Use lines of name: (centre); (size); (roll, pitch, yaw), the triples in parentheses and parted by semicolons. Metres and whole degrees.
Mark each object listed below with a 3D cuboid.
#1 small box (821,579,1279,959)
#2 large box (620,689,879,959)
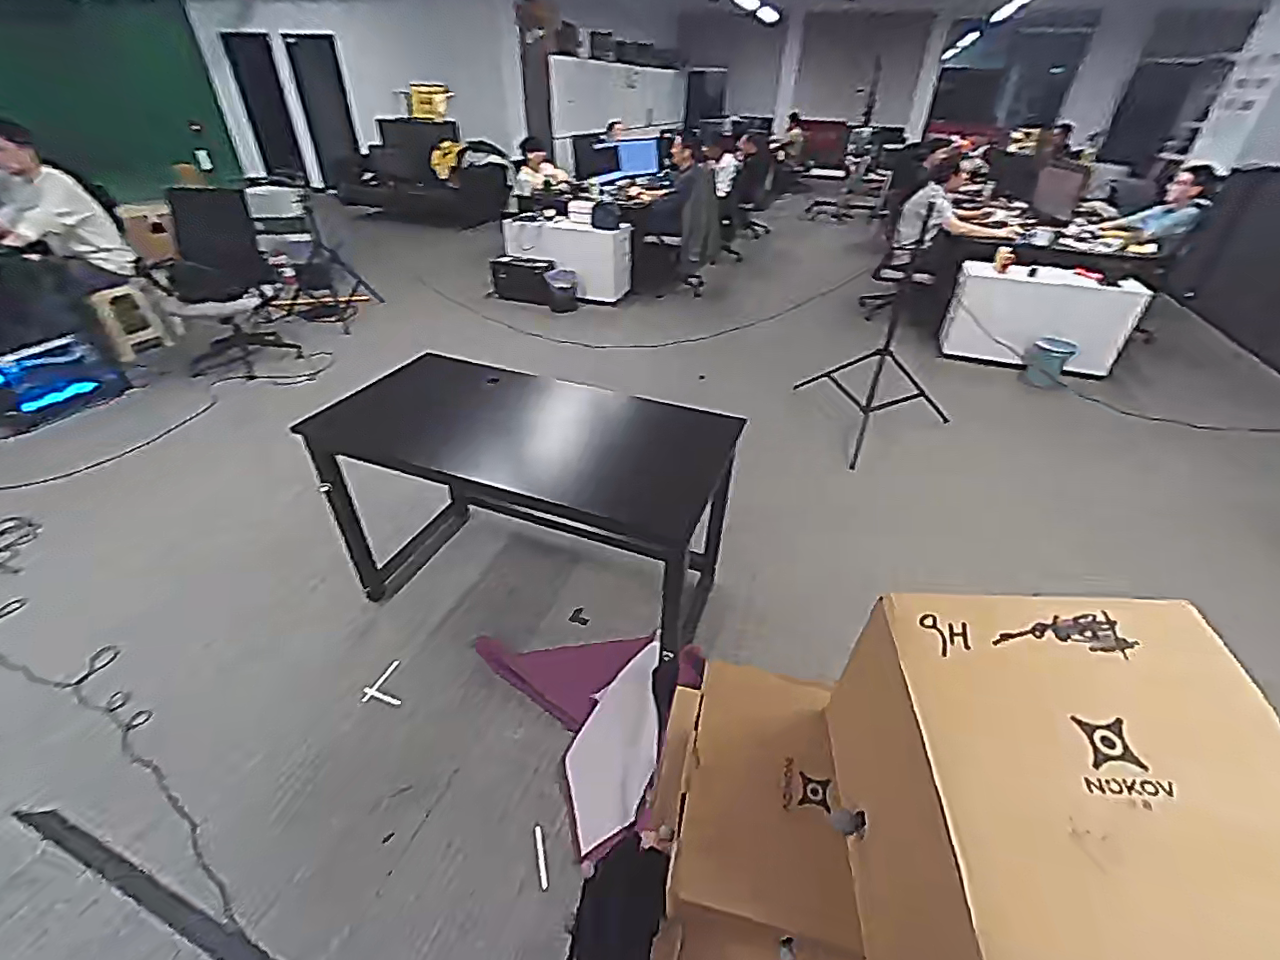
small box: (0.212, 0.176, 0.307); (0.168, 0.176, 0.179); (0, 46, 4)
large box: (0.197, 0.474, 0.585); (0.408, 0.320, 0.320); (9, 47, 10)
